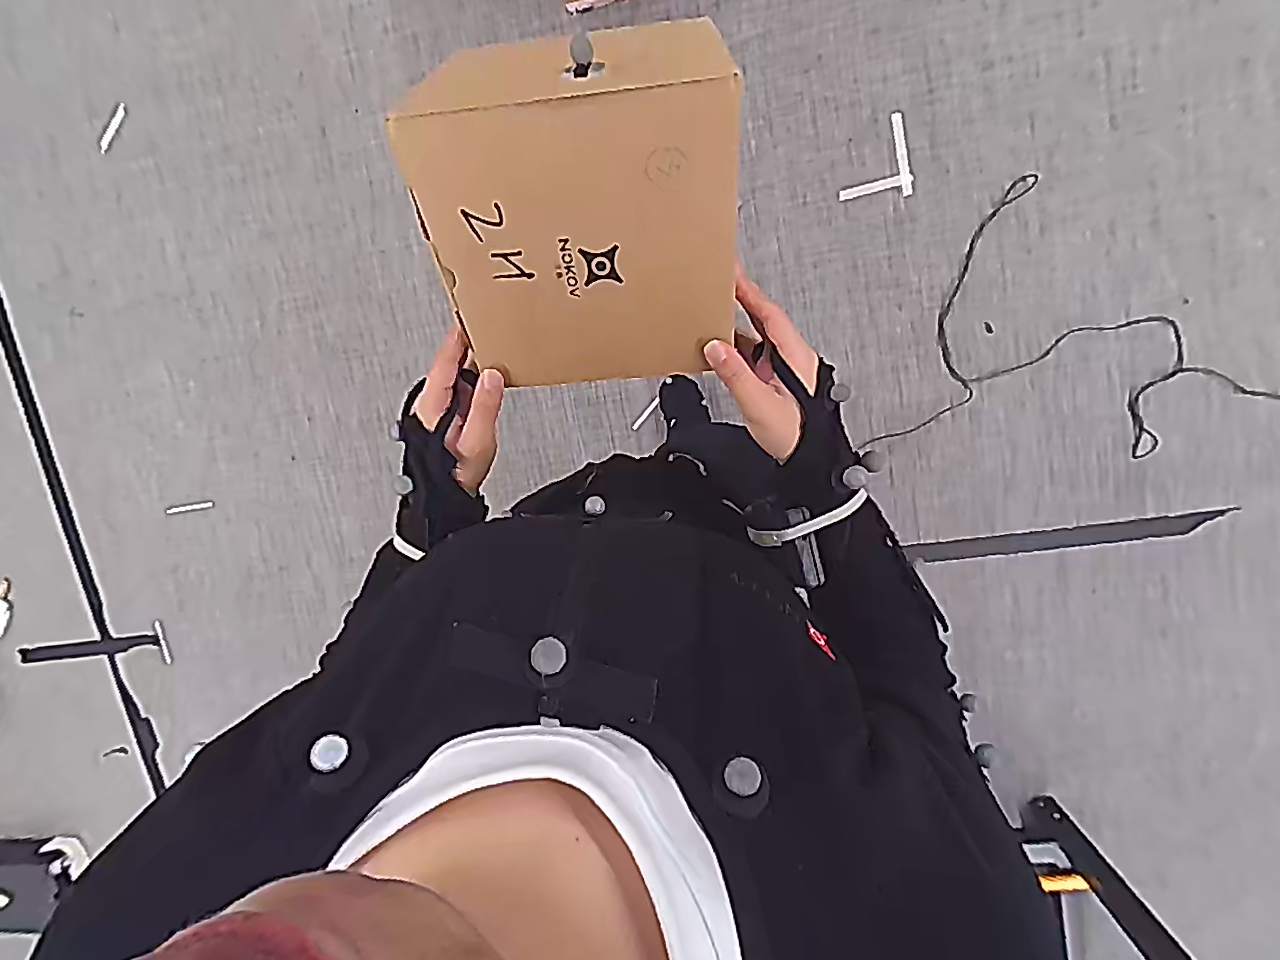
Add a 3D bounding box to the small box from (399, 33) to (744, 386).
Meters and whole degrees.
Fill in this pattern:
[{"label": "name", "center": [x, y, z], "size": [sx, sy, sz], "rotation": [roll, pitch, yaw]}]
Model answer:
[{"label": "small box", "center": [-0.030, -0.186, 0.375], "size": [0.179, 0.176, 0.168], "rotation": [-4, 136, 4]}]
